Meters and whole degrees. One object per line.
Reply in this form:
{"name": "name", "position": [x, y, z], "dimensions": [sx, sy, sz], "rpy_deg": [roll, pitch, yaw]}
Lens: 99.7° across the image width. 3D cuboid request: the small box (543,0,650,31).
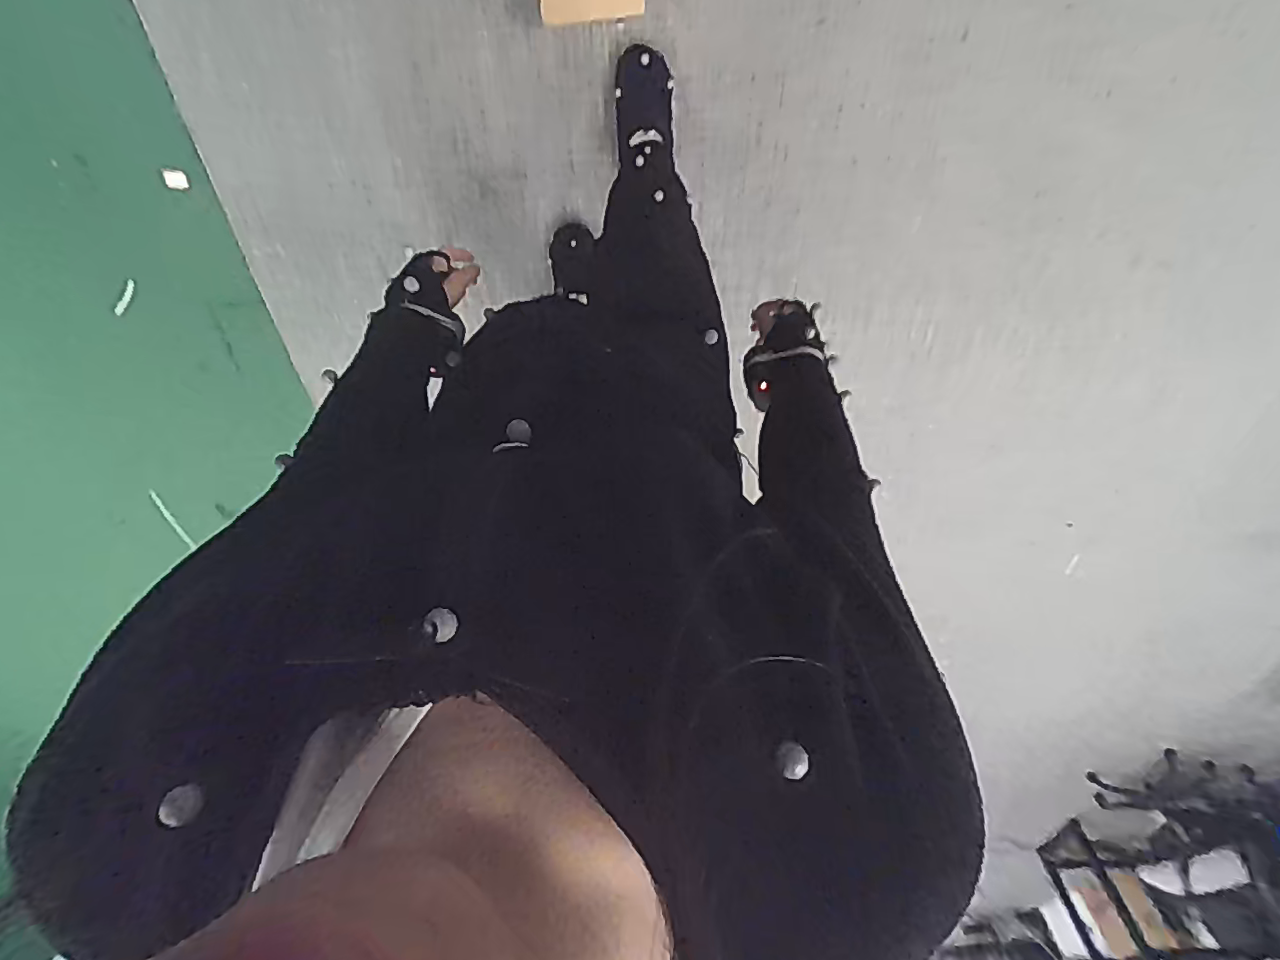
{"name": "small box", "position": [-0.079, -0.877, 0.915], "dimensions": [0.179, 0.176, 0.168], "rpy_deg": [-5, 129, 3]}
